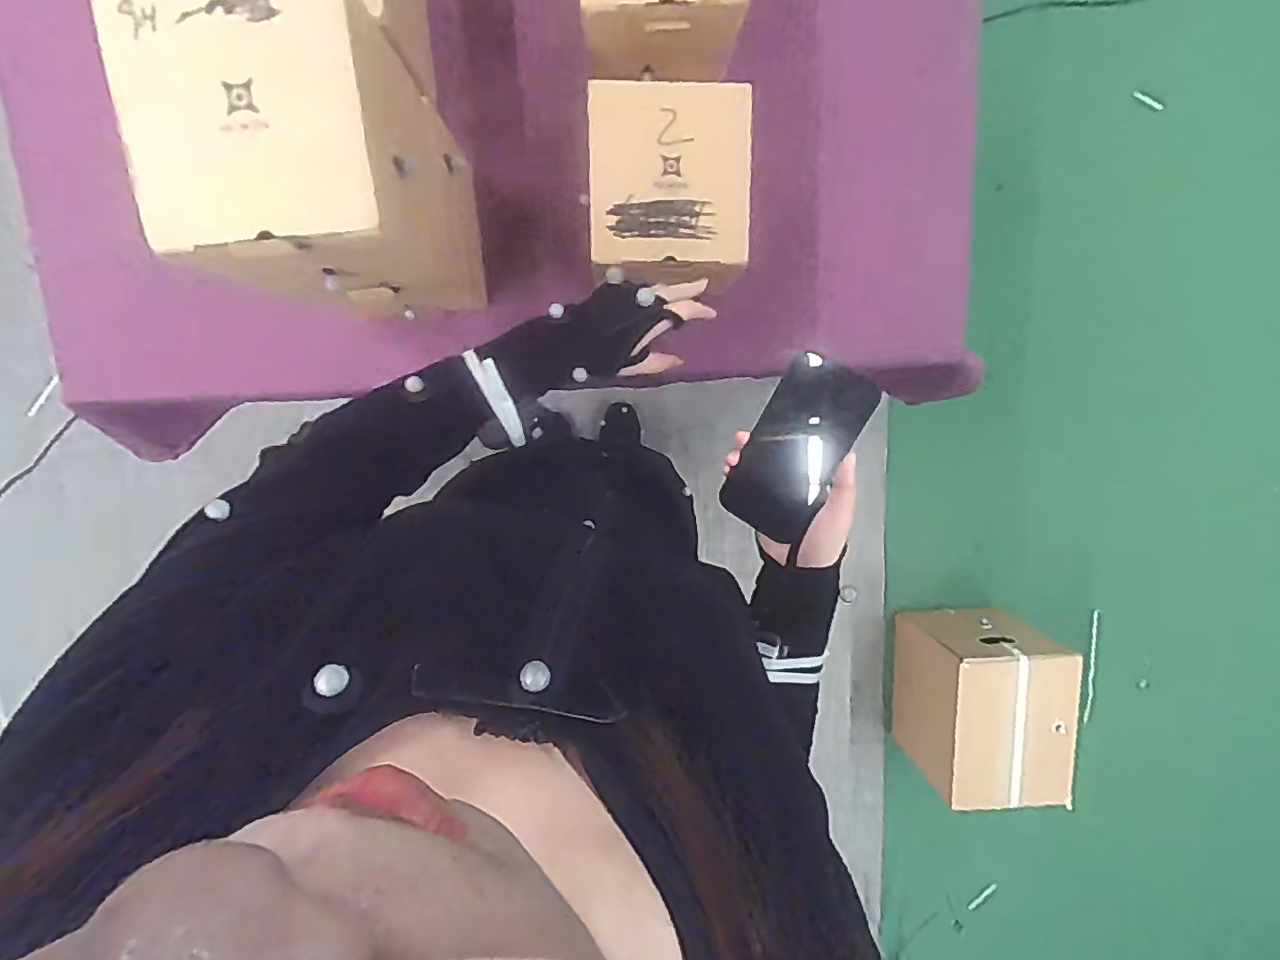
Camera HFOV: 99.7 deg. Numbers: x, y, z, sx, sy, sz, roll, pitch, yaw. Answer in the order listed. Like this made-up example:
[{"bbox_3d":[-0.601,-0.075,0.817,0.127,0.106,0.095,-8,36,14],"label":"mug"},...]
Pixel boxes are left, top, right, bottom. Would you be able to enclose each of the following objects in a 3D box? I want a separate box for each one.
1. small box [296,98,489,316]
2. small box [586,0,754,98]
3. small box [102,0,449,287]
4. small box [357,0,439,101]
[{"bbox_3d":[-0.280,-0.295,0.618,0.168,0.176,0.179,-5,99,-2],"label":"small box"},{"bbox_3d":[0.022,-0.559,0.591,0.168,0.176,0.179,-5,100,-2],"label":"small box"},{"bbox_3d":[-0.275,-0.267,0.455,0.168,0.176,0.179,-6,100,-2],"label":"small box"},{"bbox_3d":[-0.327,-0.531,0.579,0.168,0.176,0.179,-3,99,-4],"label":"small box"}]
